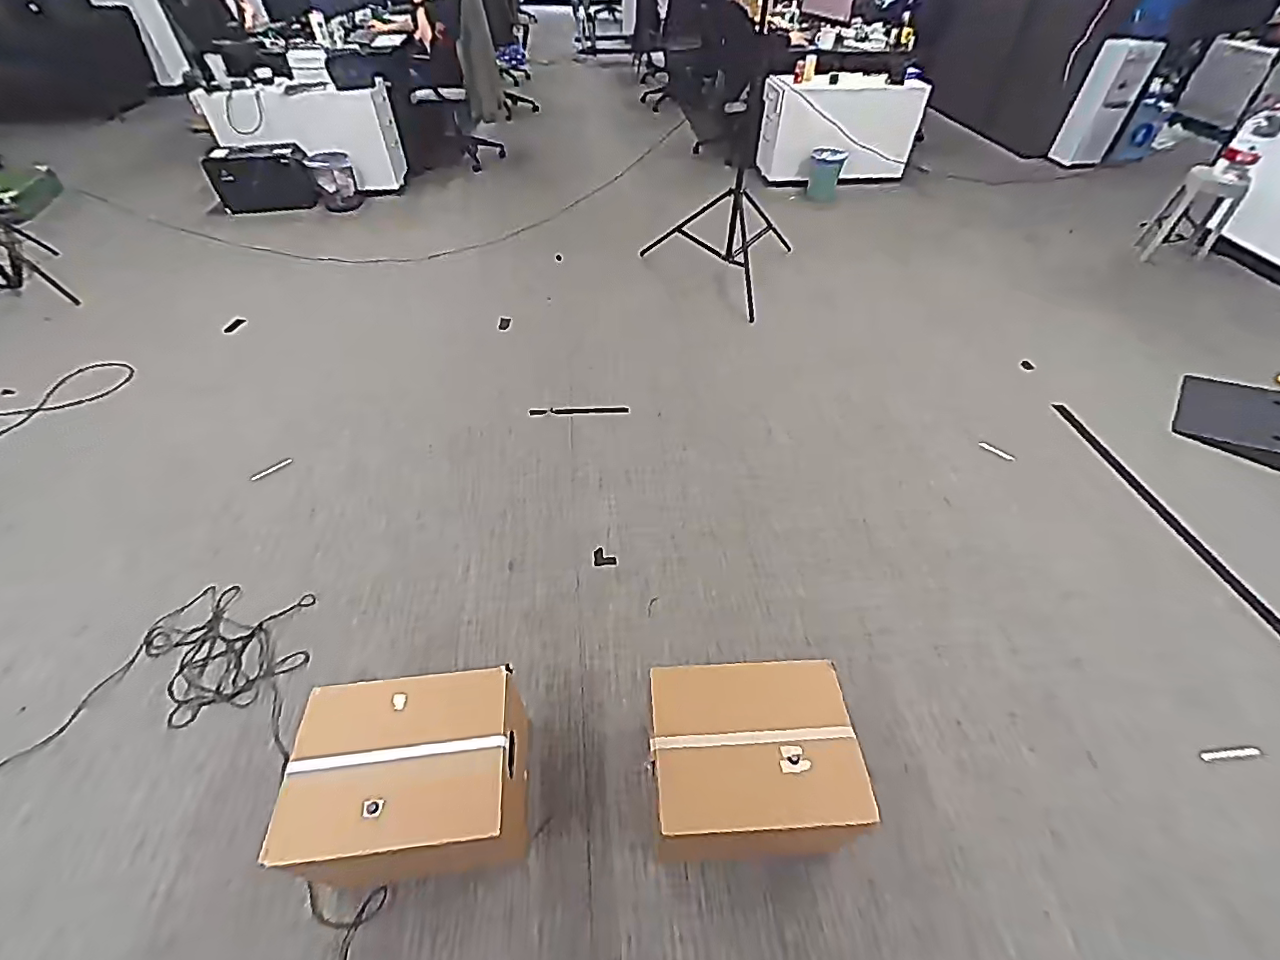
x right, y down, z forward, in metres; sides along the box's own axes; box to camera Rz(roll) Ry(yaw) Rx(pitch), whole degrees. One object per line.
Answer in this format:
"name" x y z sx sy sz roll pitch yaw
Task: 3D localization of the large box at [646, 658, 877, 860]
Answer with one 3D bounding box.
"large box" 0.228 0.616 1.193 0.408 0.320 0.320 -1 47 -3
